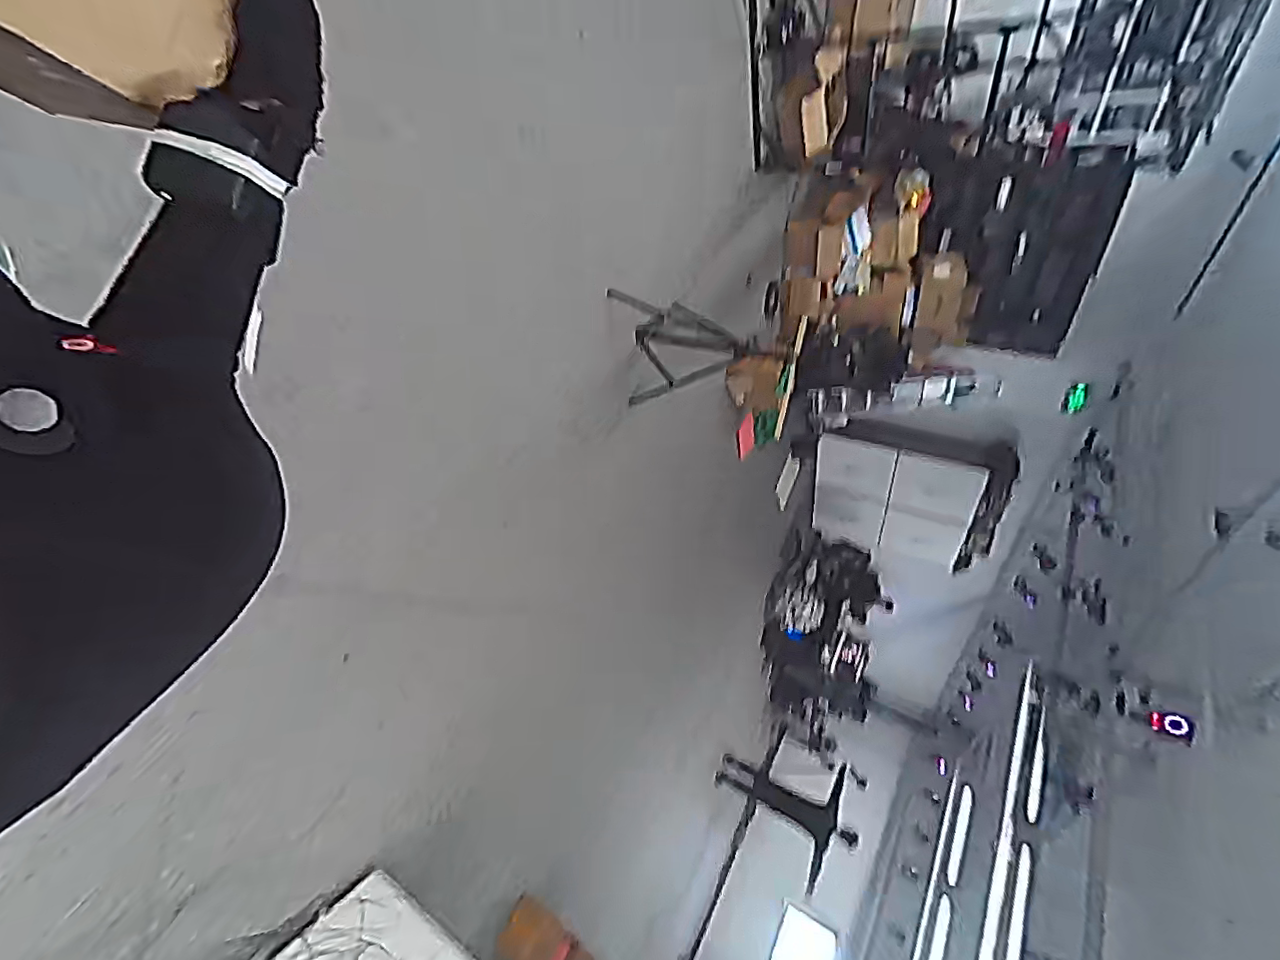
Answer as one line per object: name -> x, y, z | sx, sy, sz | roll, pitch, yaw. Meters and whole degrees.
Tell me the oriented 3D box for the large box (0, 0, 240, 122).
large box -> -0.487, -0.478, 0.281 | 0.408, 0.320, 0.320 | 11, 102, -65
